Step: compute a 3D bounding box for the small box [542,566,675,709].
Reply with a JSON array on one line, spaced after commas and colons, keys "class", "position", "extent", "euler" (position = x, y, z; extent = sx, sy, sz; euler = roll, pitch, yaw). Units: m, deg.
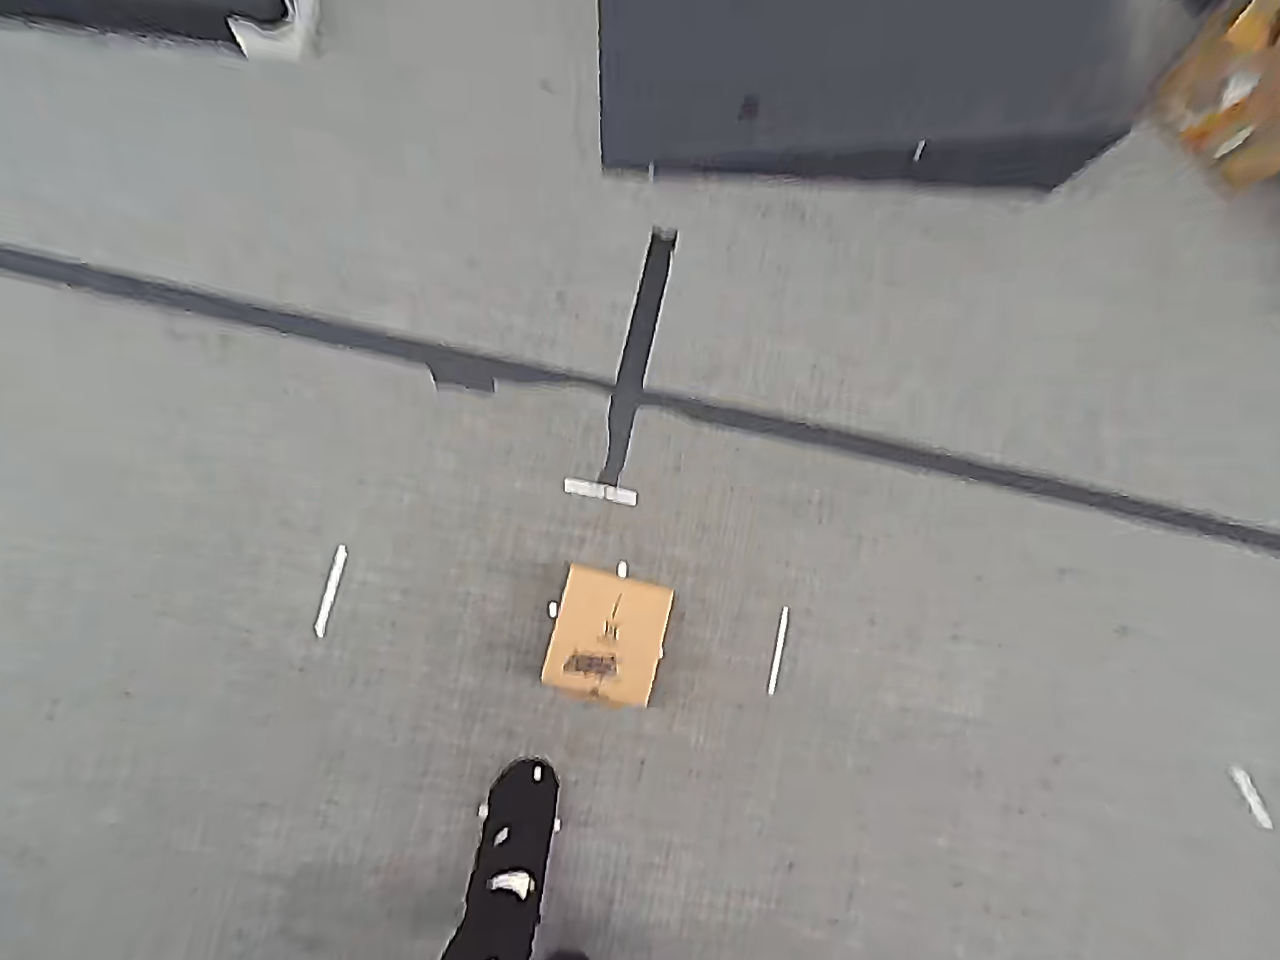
[{"class": "small box", "position": [-0.053, 0.248, 0.890], "extent": [0.168, 0.176, 0.179], "euler": [16, 81, -5]}]
